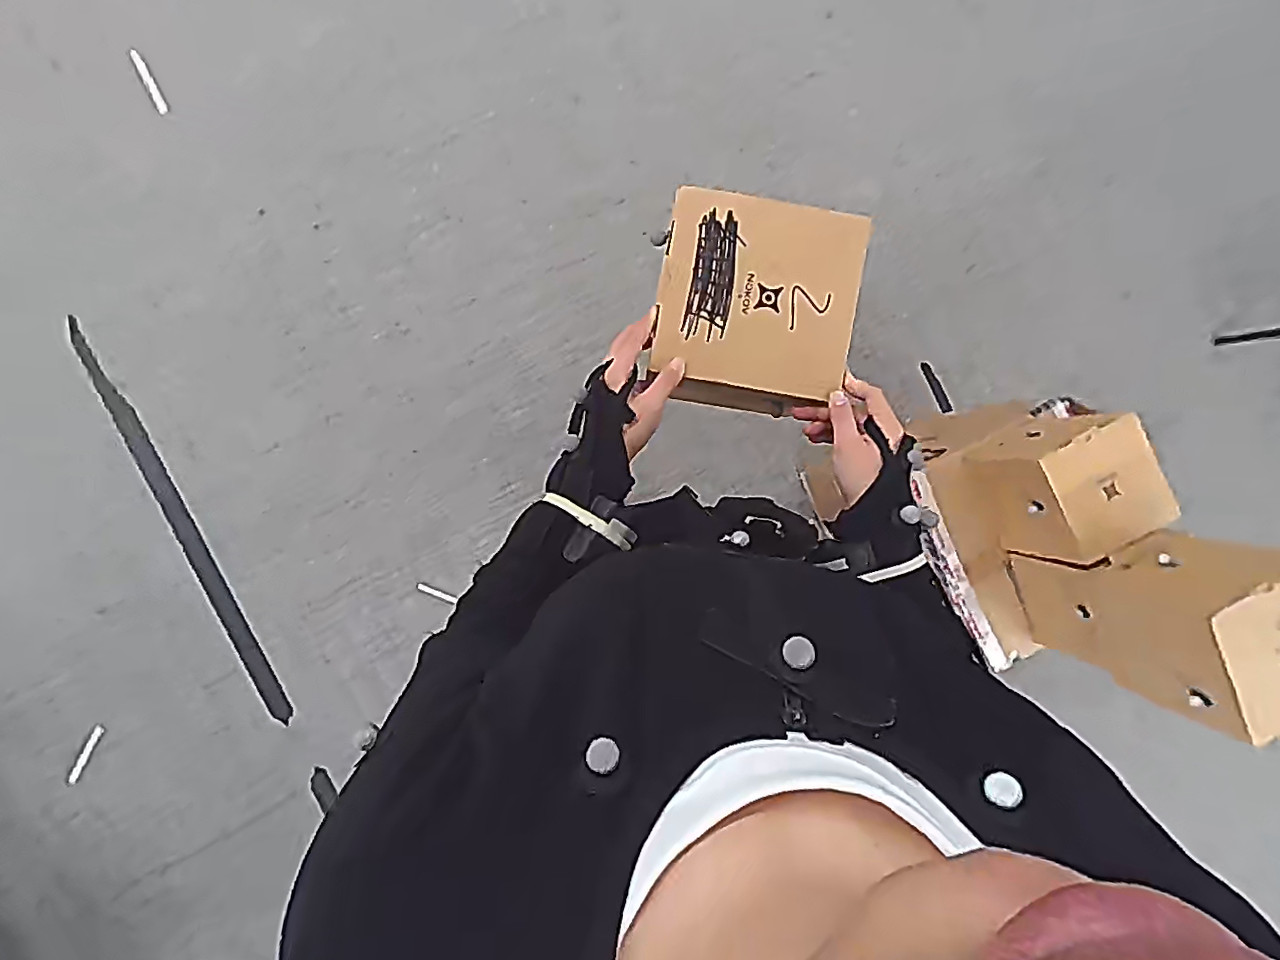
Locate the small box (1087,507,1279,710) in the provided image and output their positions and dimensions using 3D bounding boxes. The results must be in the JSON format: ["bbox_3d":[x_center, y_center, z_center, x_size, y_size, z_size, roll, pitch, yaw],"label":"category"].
[{"bbox_3d":[0.743,0.150,0.697,0.168,0.176,0.179,-27,94,-3],"label":"small box"}]

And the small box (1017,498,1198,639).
[{"bbox_3d":[0.753,0.135,0.862,0.168,0.176,0.179,-24,95,-3],"label":"small box"}]
